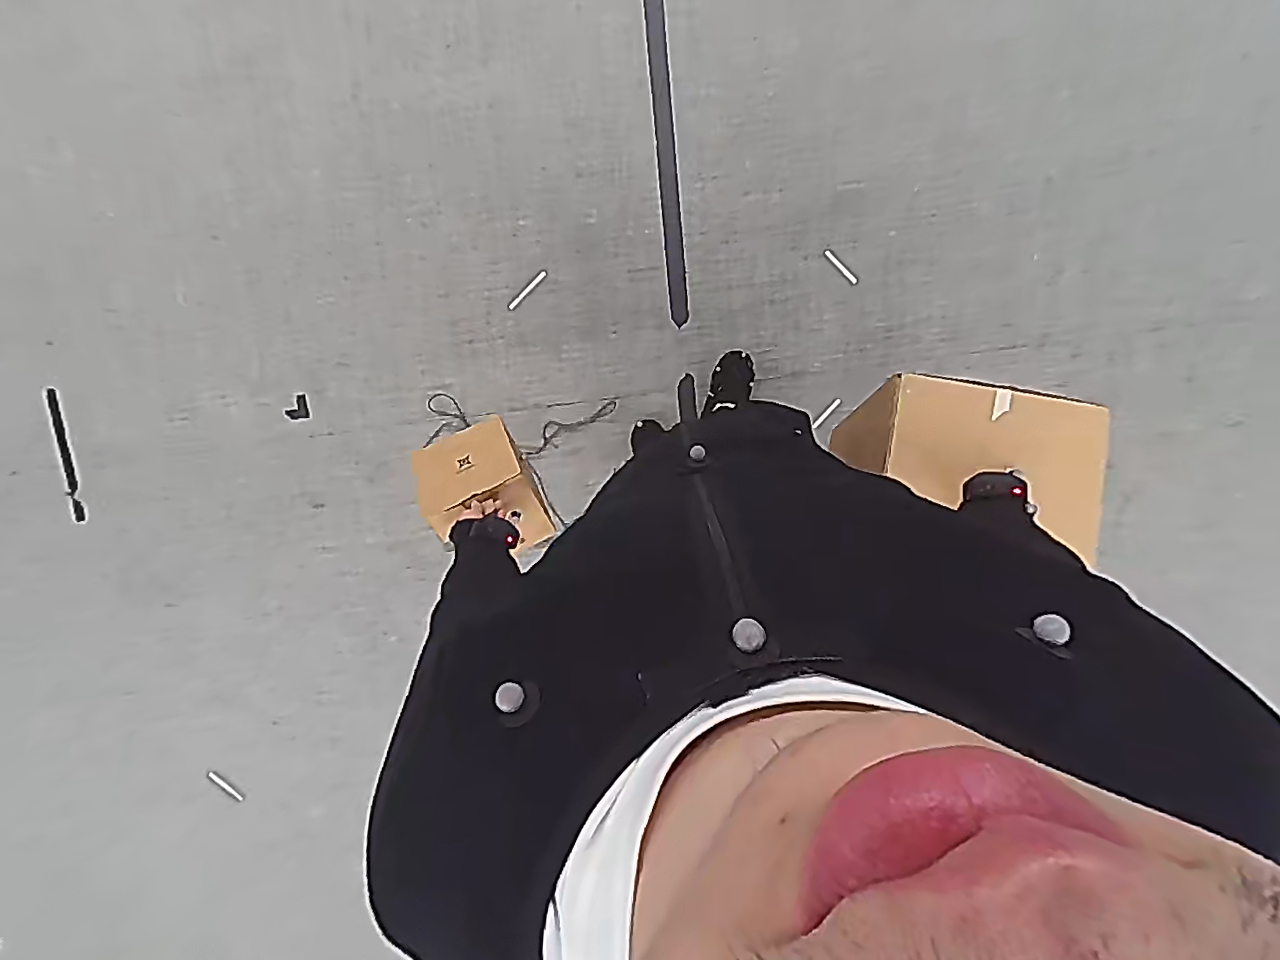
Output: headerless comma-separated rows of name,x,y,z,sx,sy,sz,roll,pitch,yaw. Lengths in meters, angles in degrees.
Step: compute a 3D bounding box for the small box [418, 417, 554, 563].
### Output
small box,-0.272,0.026,0.970,0.168,0.179,0.176,-26,136,-7
